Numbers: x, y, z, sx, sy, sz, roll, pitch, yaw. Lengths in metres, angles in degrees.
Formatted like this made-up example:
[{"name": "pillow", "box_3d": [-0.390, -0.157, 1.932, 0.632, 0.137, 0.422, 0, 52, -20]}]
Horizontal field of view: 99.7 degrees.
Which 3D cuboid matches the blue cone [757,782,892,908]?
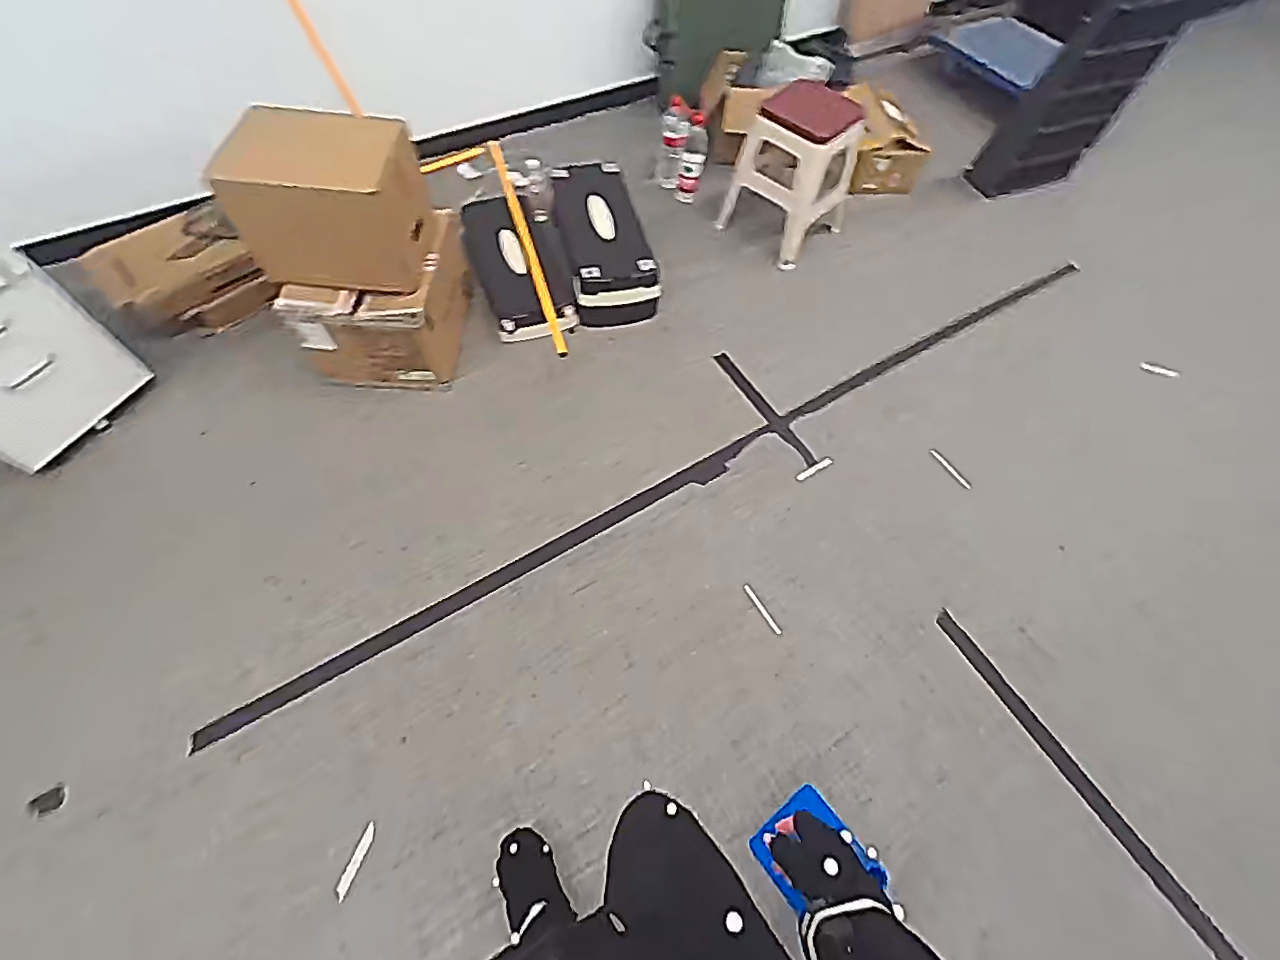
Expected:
[{"name": "blue cone", "box_3d": [0.381, 0.719, 1.047, 0.192, 0.380, 0.193, -32, 67, -19]}]
